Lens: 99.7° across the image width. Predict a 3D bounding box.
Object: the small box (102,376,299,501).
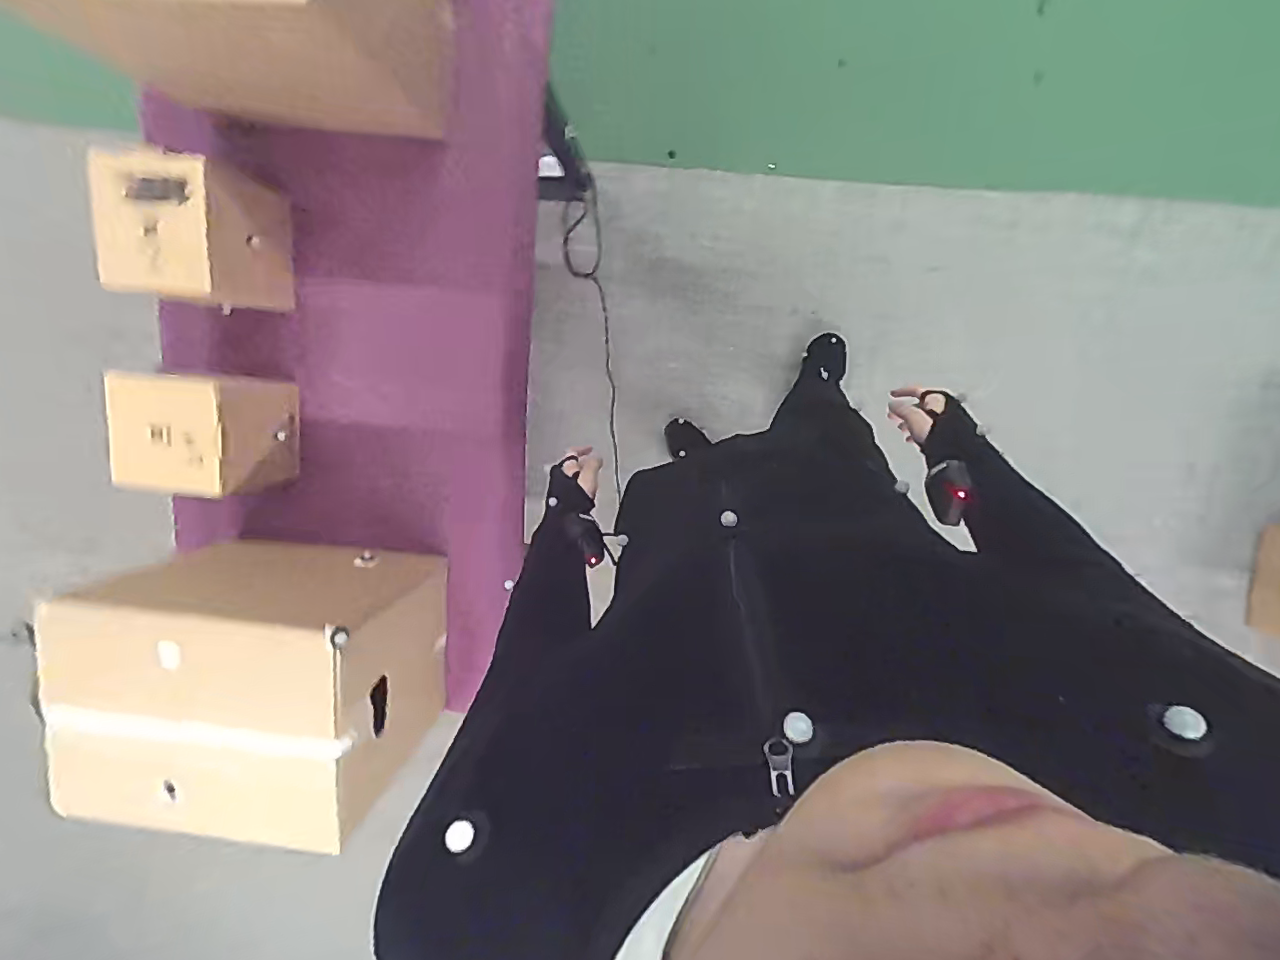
[{"bbox_3d":[-0.679,-0.071,0.853,0.179,0.176,0.168,6,101,4],"label":"small box"}]
